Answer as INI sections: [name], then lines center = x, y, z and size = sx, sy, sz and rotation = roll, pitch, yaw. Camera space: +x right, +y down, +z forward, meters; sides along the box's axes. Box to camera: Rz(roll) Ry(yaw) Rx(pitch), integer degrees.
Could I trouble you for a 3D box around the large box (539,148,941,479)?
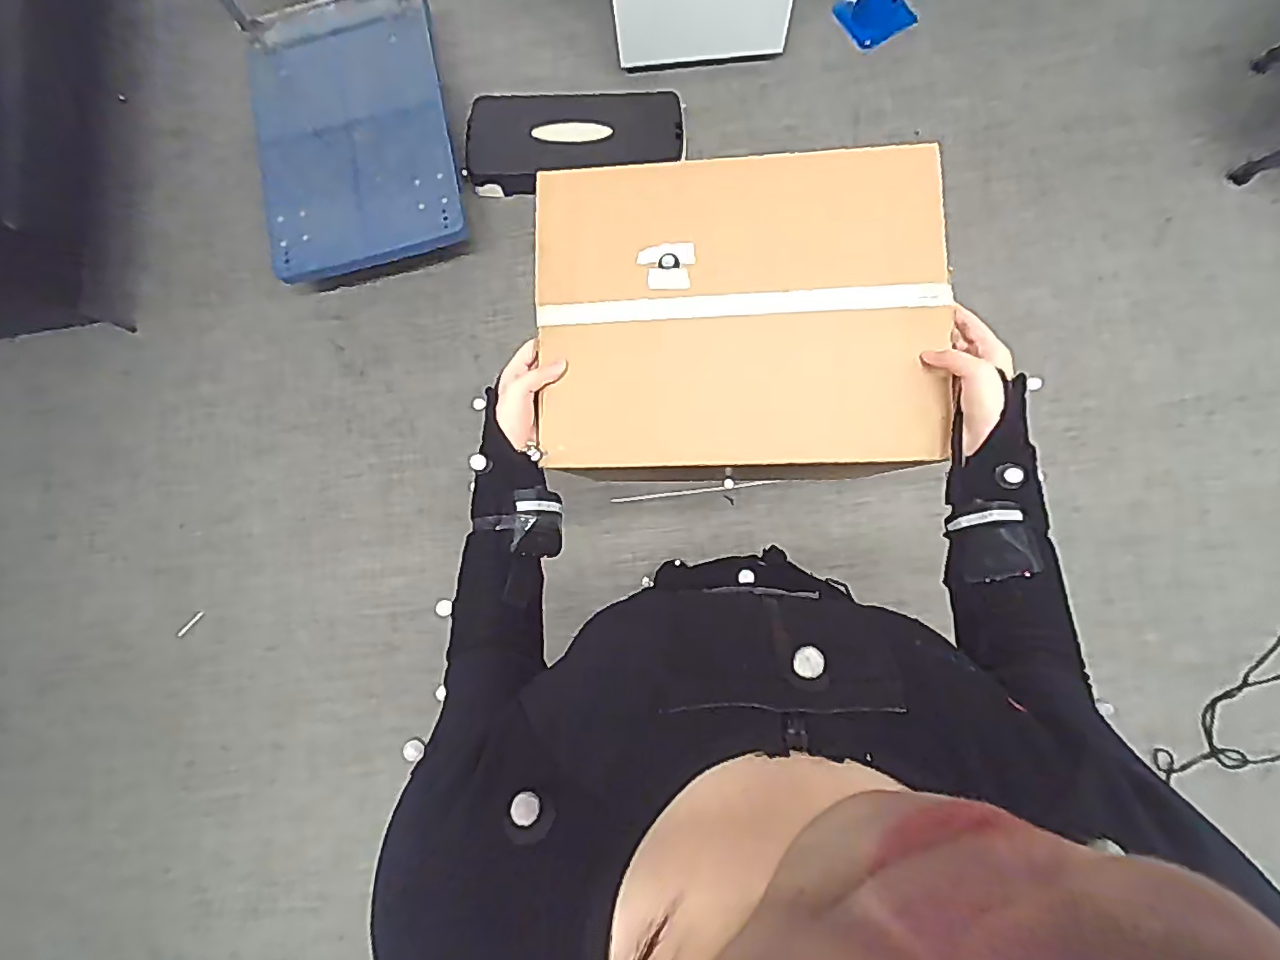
[large box]
center = 0.112, -0.165, 0.701
size = 0.408, 0.320, 0.320
rotation = -1, 87, 7
